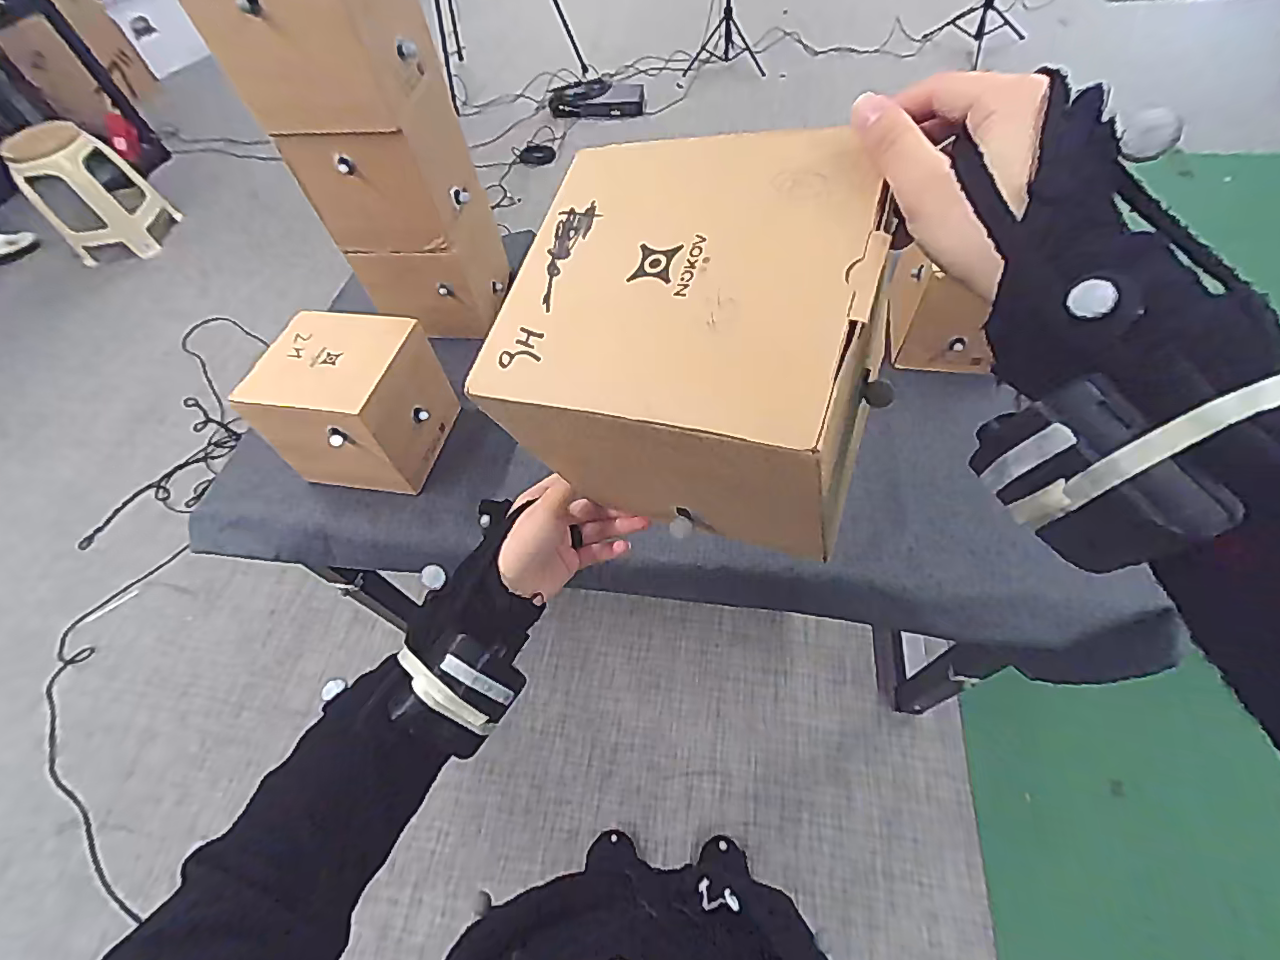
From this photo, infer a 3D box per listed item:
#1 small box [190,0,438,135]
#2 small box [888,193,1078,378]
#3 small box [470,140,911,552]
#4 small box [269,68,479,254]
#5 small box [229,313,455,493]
[{"bbox_3d":[-0.359,-0.512,0.603,0.179,0.176,0.168,4,60,7],"label":"small box"},{"bbox_3d":[0.457,-0.270,0.755,0.168,0.176,0.179,7,60,10],"label":"small box"},{"bbox_3d":[0.042,-0.067,0.326,0.179,0.176,0.168,13,72,24],"label":"small box"},{"bbox_3d":[-0.348,-0.434,0.748,0.179,0.176,0.168,2,60,5],"label":"small box"},{"bbox_3d":[-0.375,-0.099,0.724,0.179,0.176,0.168,7,56,9],"label":"small box"}]
